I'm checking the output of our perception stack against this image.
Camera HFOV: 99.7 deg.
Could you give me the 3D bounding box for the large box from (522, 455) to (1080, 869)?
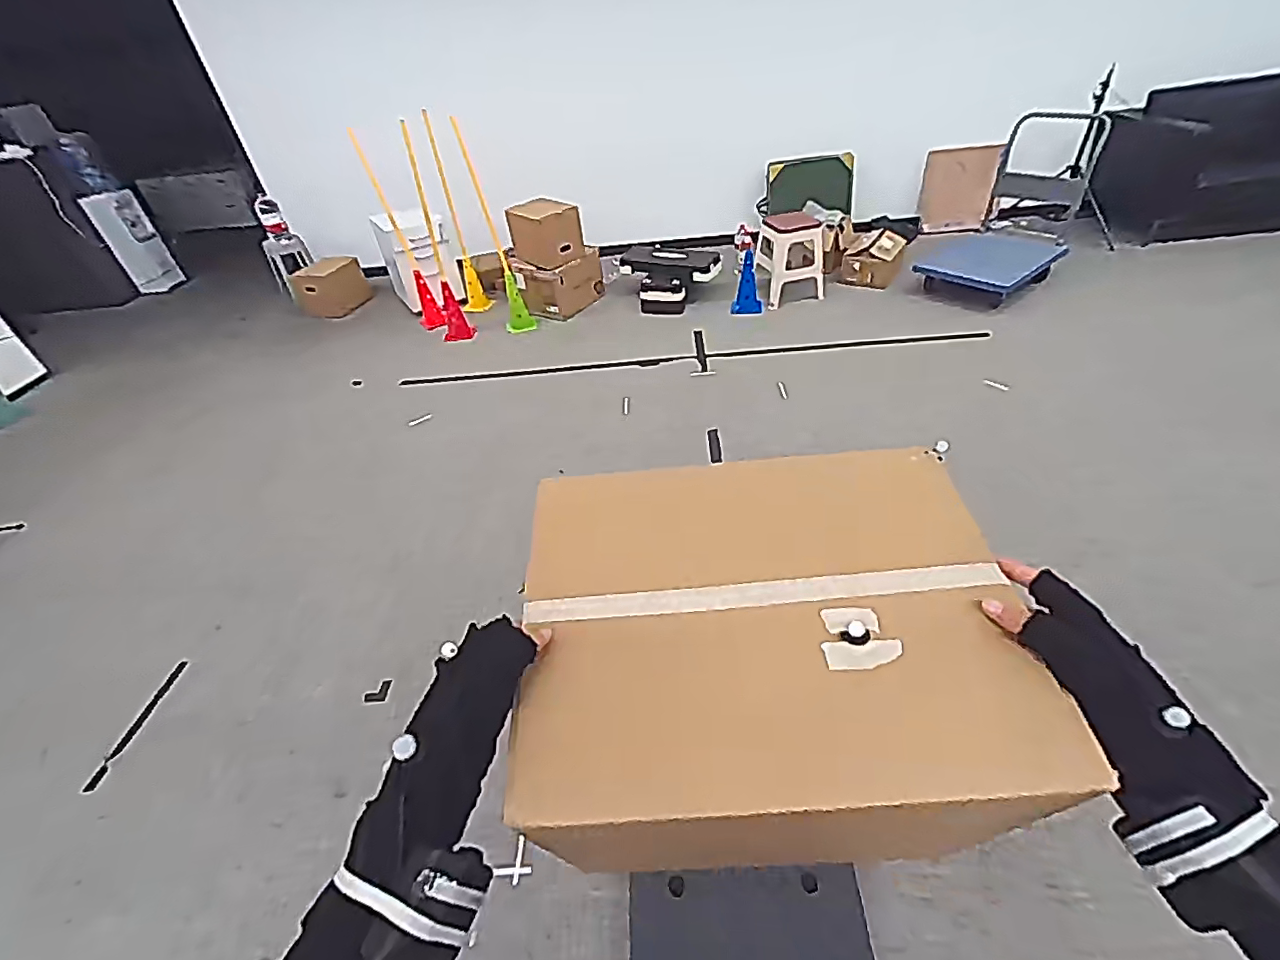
[{"bbox_3d":[0.114,0.203,0.587,0.408,0.320,0.320,-5,49,2],"label":"large box"}]
